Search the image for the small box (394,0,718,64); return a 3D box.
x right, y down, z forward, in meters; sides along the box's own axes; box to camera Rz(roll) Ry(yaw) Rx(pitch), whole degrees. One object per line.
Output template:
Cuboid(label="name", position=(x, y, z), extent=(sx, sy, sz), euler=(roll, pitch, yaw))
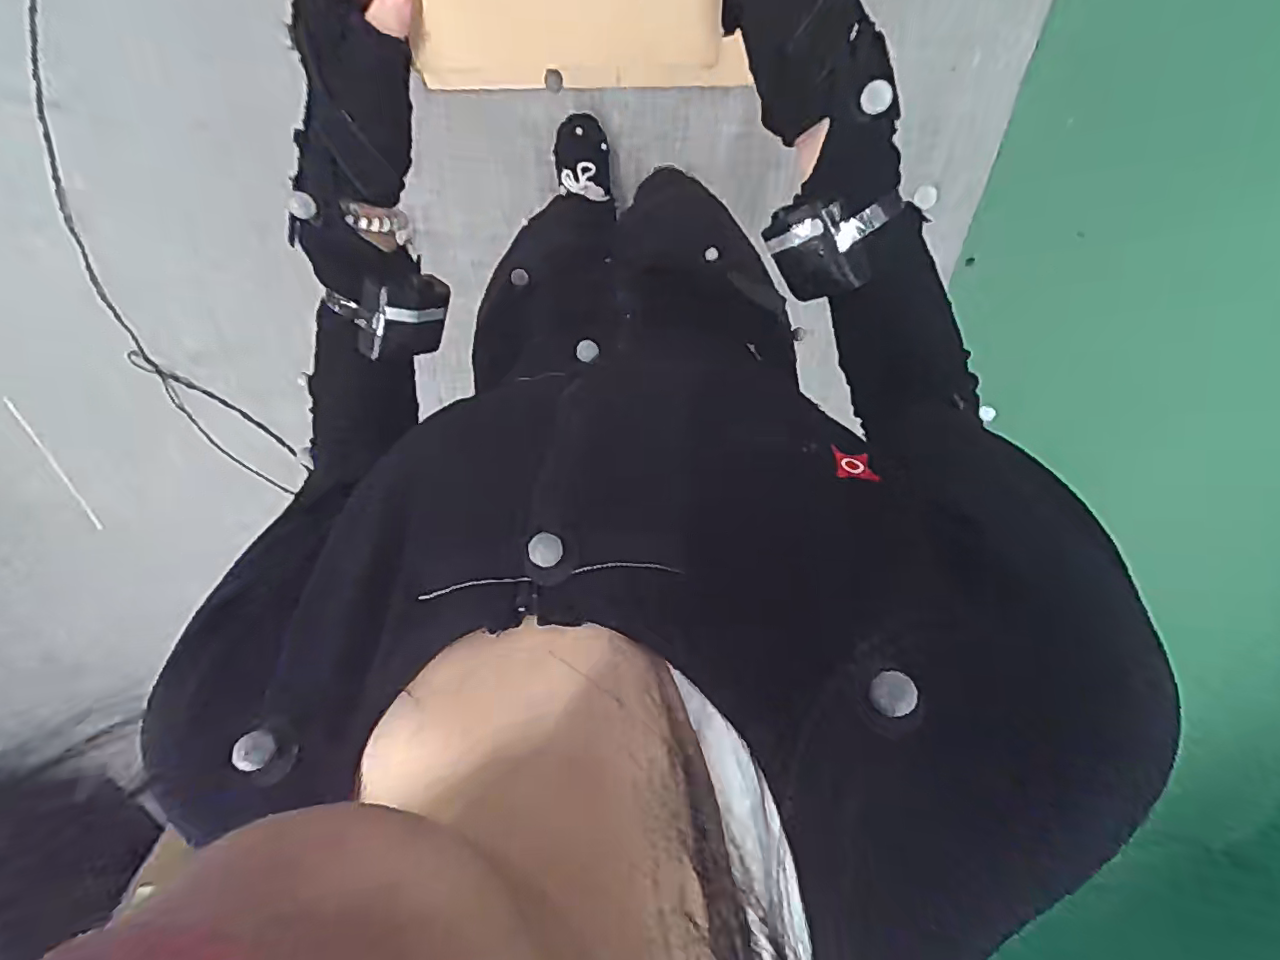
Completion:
Cuboid(label="small box", position=(-0.050, -0.352, 0.310), extent=(0.179, 0.176, 0.168), euler=(-4, 134, -5))
